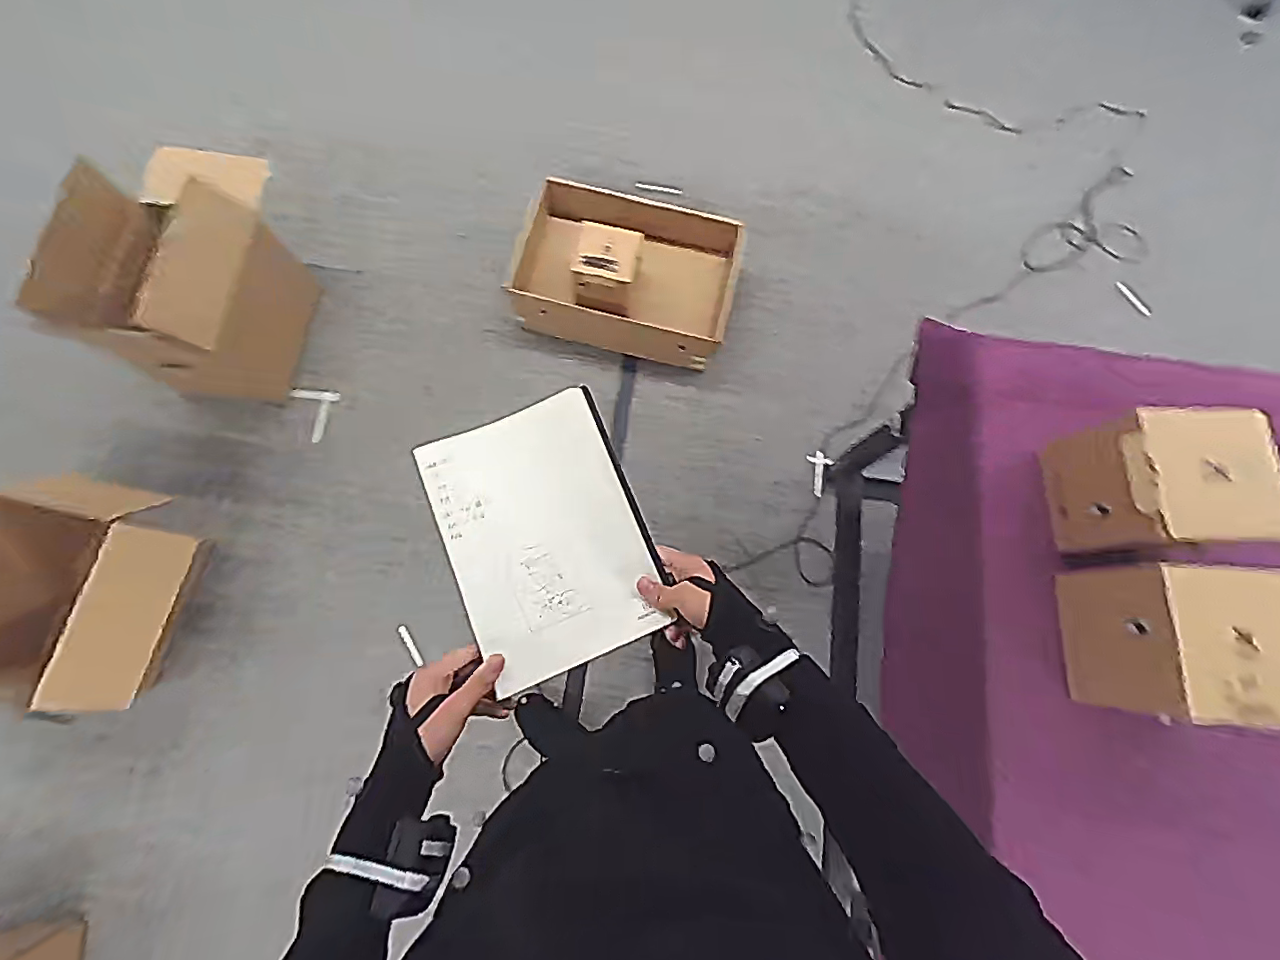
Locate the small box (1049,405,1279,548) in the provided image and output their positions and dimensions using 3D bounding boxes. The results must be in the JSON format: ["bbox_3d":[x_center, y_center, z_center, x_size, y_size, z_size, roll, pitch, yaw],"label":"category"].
[{"bbox_3d":[0.710,0.004,0.749,0.179,0.176,0.168,0,77,-2],"label":"small box"}]

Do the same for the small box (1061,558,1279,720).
[{"bbox_3d":[0.688,0.201,0.698,0.168,0.176,0.179,4,76,-1],"label":"small box"}]
